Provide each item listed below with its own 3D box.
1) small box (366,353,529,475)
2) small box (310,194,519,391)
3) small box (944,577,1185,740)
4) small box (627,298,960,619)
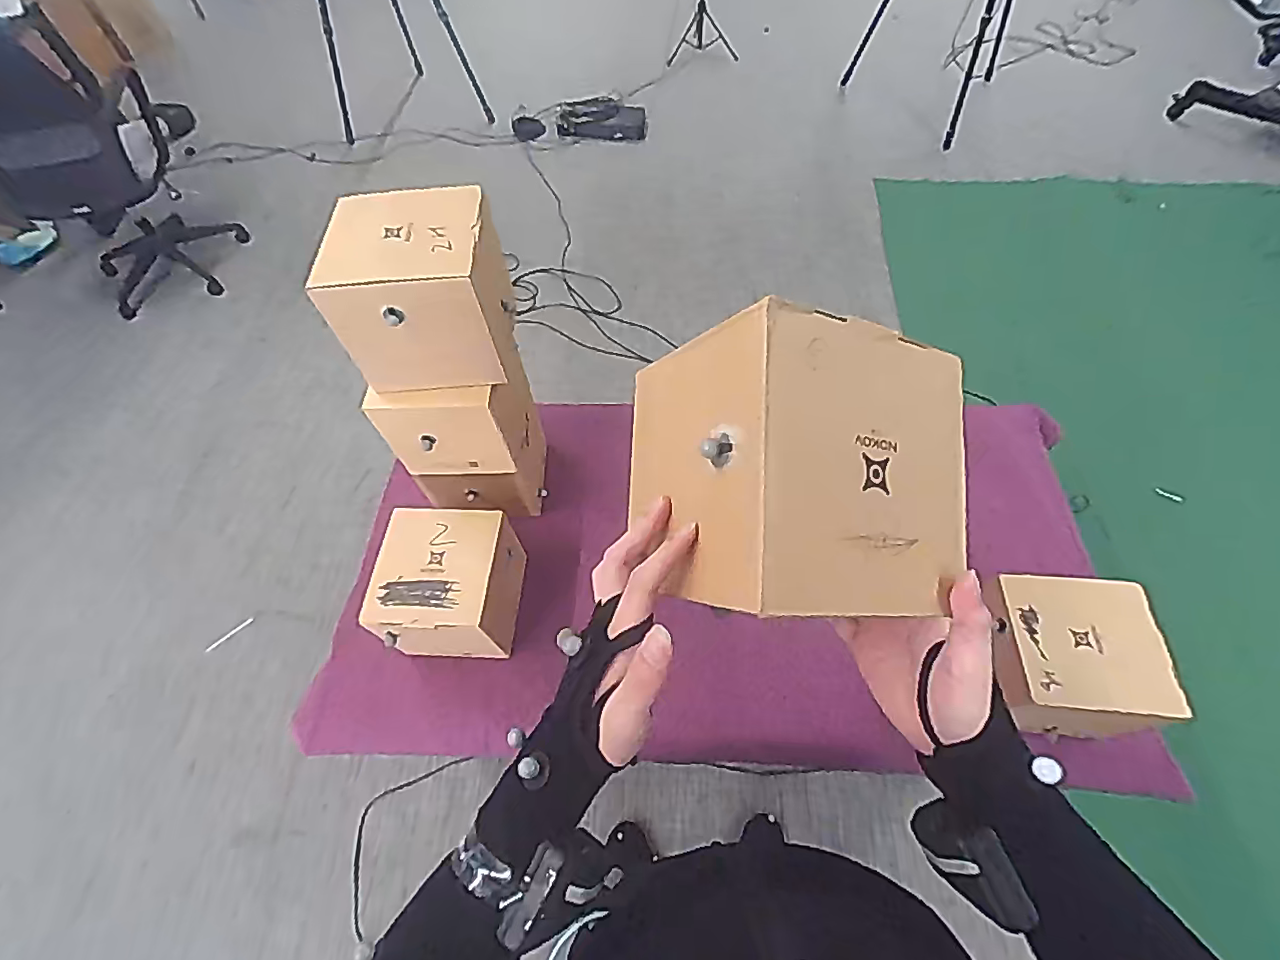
[{"bbox_3d":[-0.268,-0.118,0.800,0.168,0.176,0.179,-1,58,2],"label":"small box"},{"bbox_3d":[-0.261,-0.225,0.673,0.179,0.176,0.168,-4,59,0],"label":"small box"},{"bbox_3d":[0.550,0.247,0.732,0.179,0.176,0.168,4,57,5],"label":"small box"},{"bbox_3d":[0.101,0.001,0.393,0.168,0.176,0.179,8,82,-26],"label":"small box"}]
